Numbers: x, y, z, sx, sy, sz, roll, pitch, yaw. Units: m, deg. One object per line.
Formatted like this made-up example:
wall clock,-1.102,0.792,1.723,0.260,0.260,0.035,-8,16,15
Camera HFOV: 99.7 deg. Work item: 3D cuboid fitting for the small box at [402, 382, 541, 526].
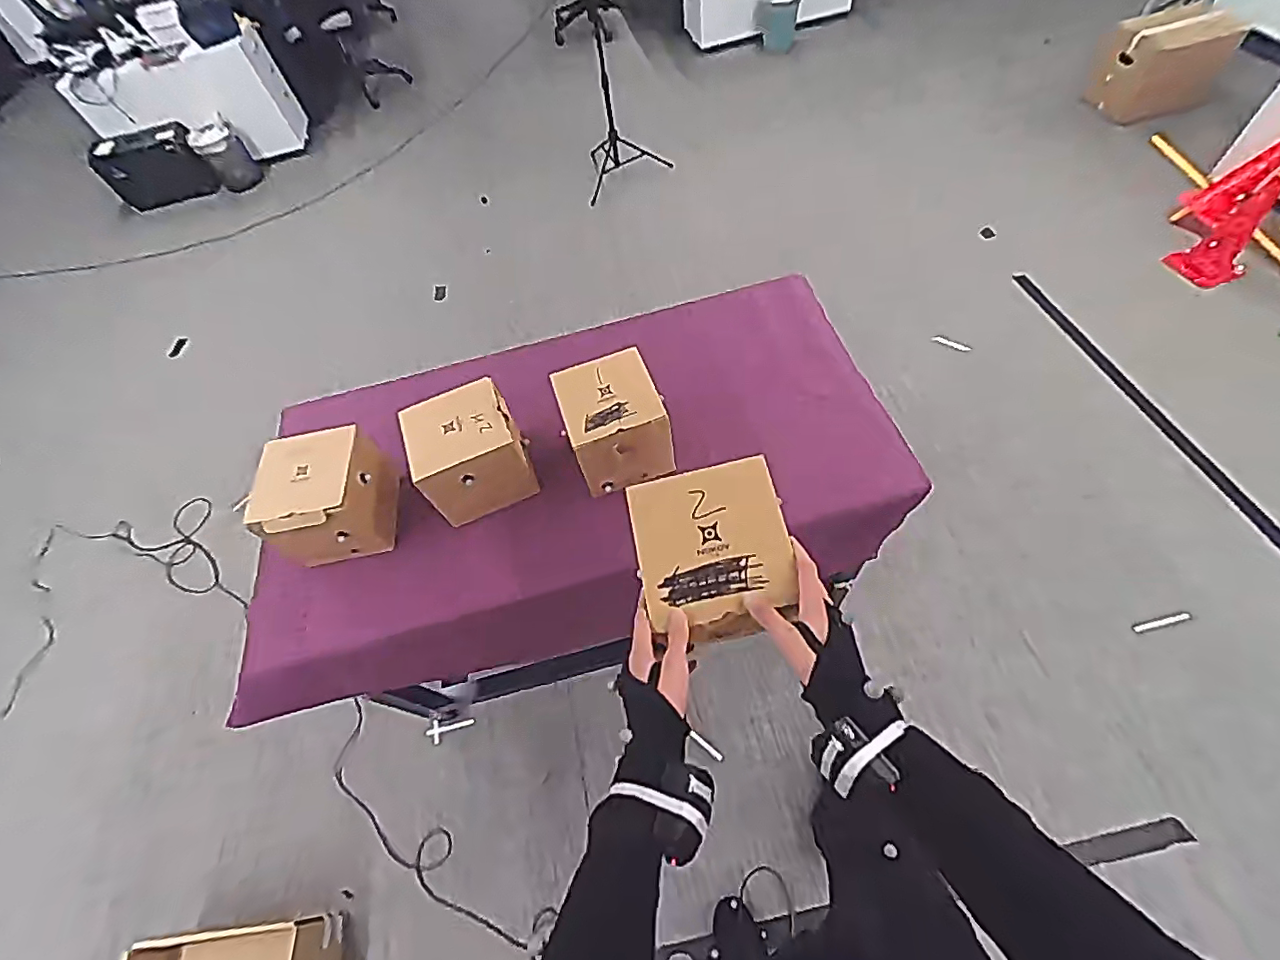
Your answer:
small box,-0.303,-0.042,0.991,0.179,0.176,0.168,-23,58,-6

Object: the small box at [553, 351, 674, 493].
small box,-0.043,-0.097,0.987,0.168,0.176,0.179,-19,56,-4

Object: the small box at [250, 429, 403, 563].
small box,-0.551,0.038,0.980,0.168,0.176,0.179,-11,57,1
